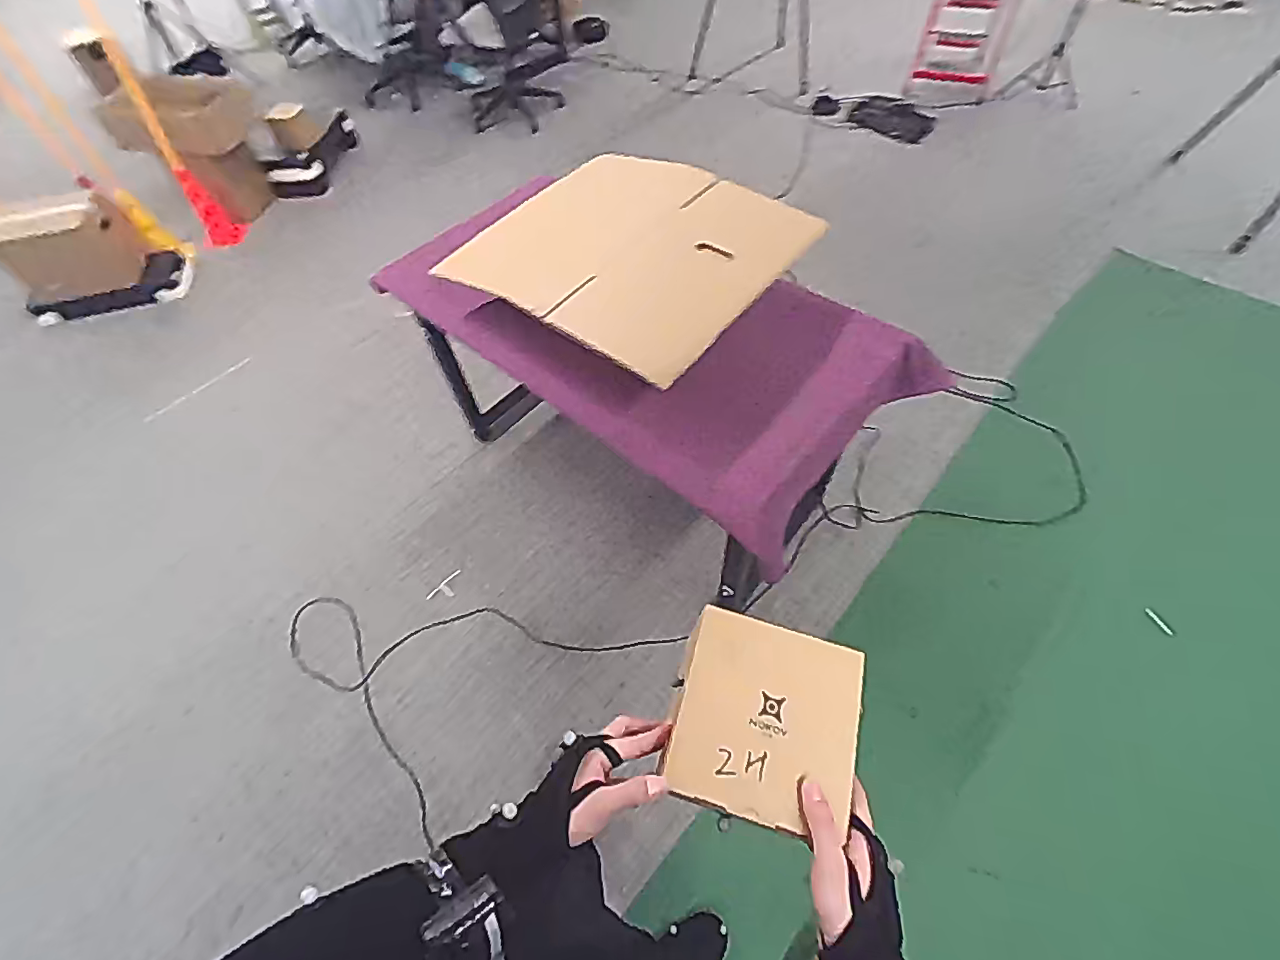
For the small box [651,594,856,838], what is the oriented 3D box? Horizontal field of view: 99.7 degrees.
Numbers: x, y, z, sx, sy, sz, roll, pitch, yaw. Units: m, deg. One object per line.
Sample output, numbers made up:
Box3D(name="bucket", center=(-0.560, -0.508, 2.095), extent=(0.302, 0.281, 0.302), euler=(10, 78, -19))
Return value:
Box3D(name="small box", center=(0.111, 0.249, 0.575), extent=(0.168, 0.176, 0.179), euler=(15, 61, 7))
